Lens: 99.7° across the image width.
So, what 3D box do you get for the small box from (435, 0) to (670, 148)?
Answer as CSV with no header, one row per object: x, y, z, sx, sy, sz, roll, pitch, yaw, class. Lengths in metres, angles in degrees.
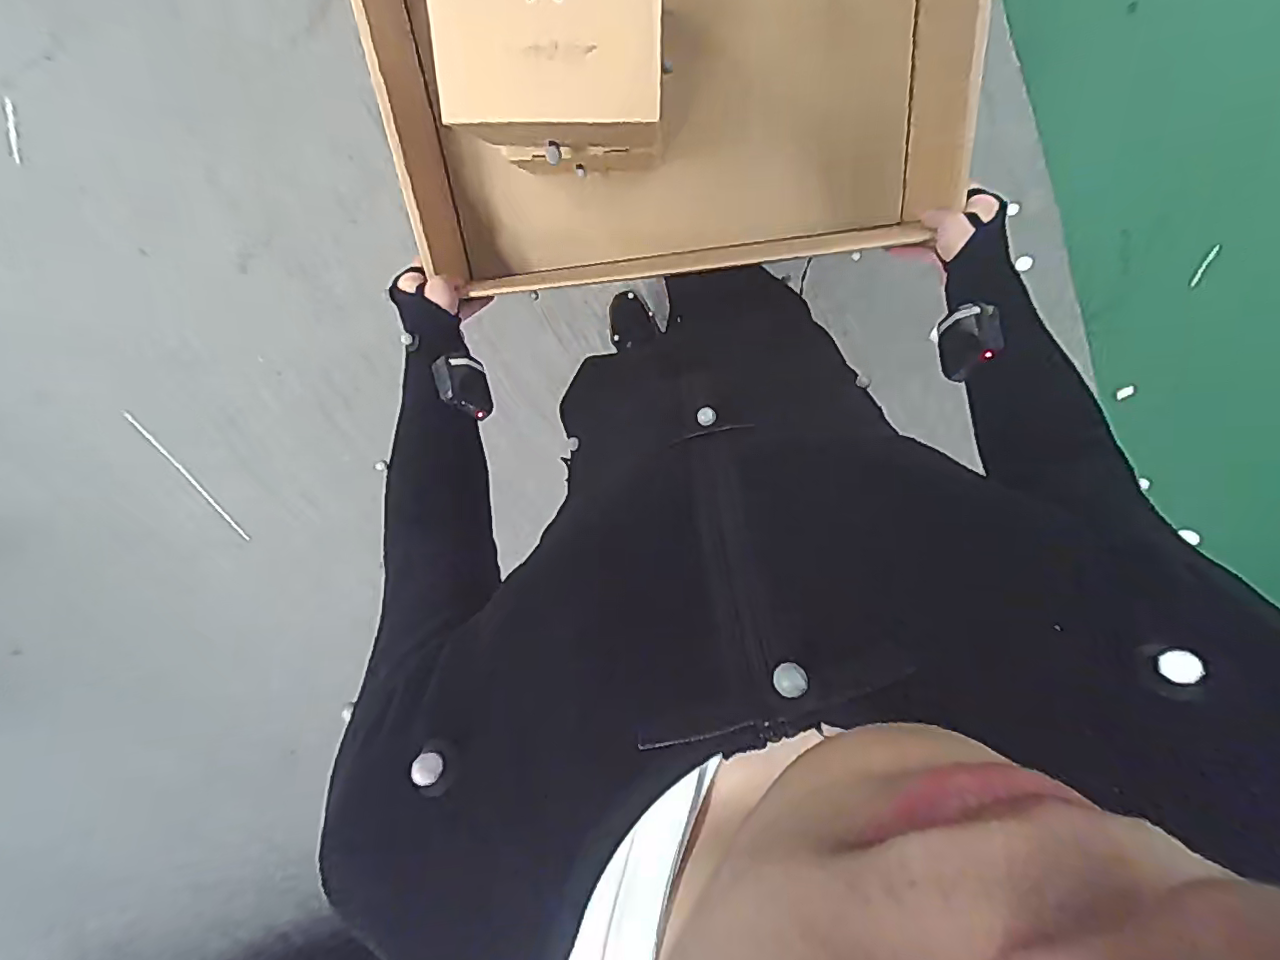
-0.060,-0.385,0.438,0.168,0.176,0.179,2,115,0,small box

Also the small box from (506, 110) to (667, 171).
-0.058,-0.448,0.589,0.168,0.176,0.179,-2,115,2,small box
